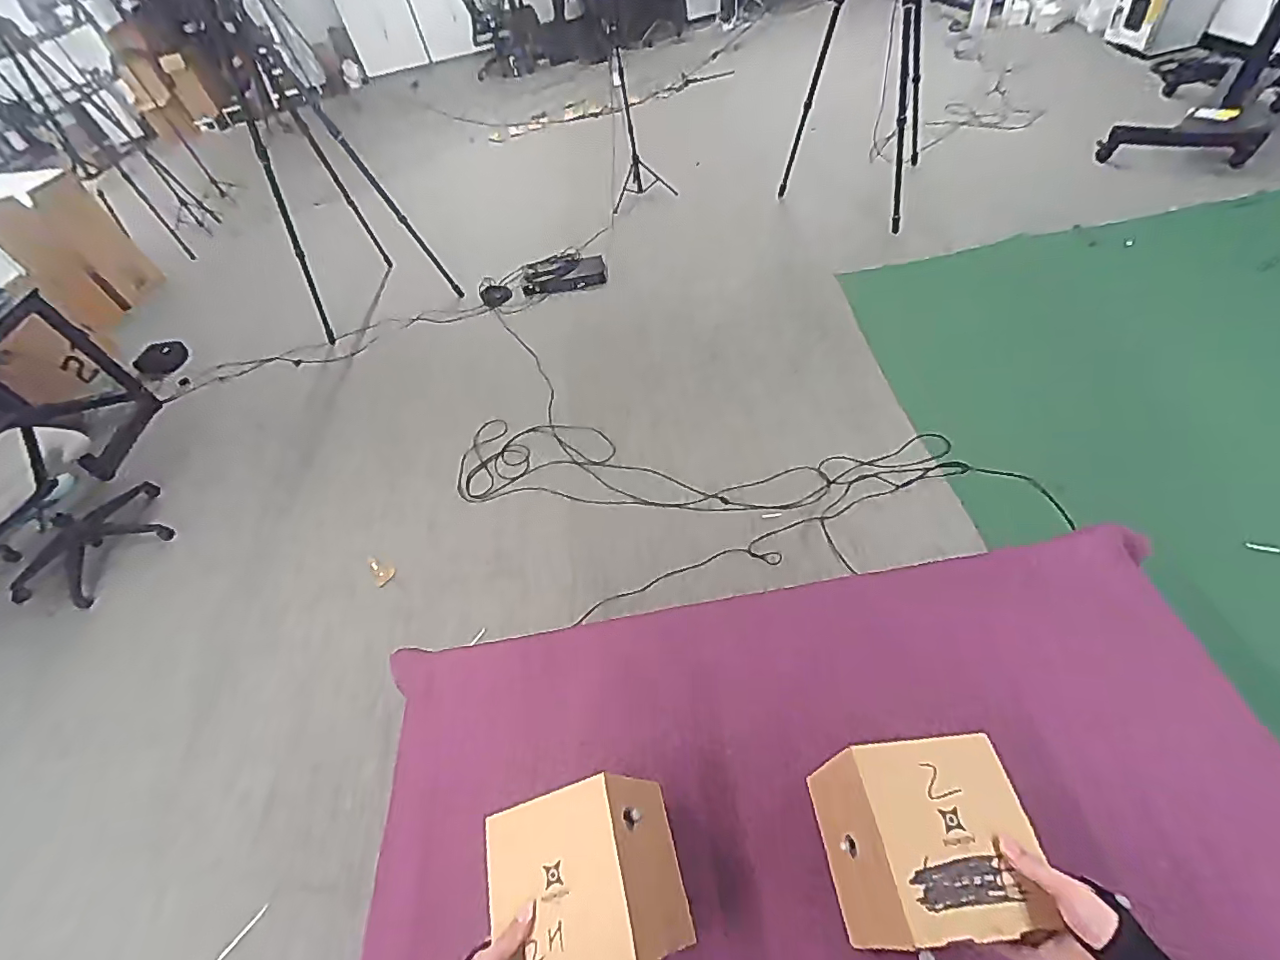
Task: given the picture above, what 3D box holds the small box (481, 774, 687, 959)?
[{"bbox_3d":[-0.064,0.470,0.630,0.168,0.176,0.179,-26,51,11],"label":"small box"}]
